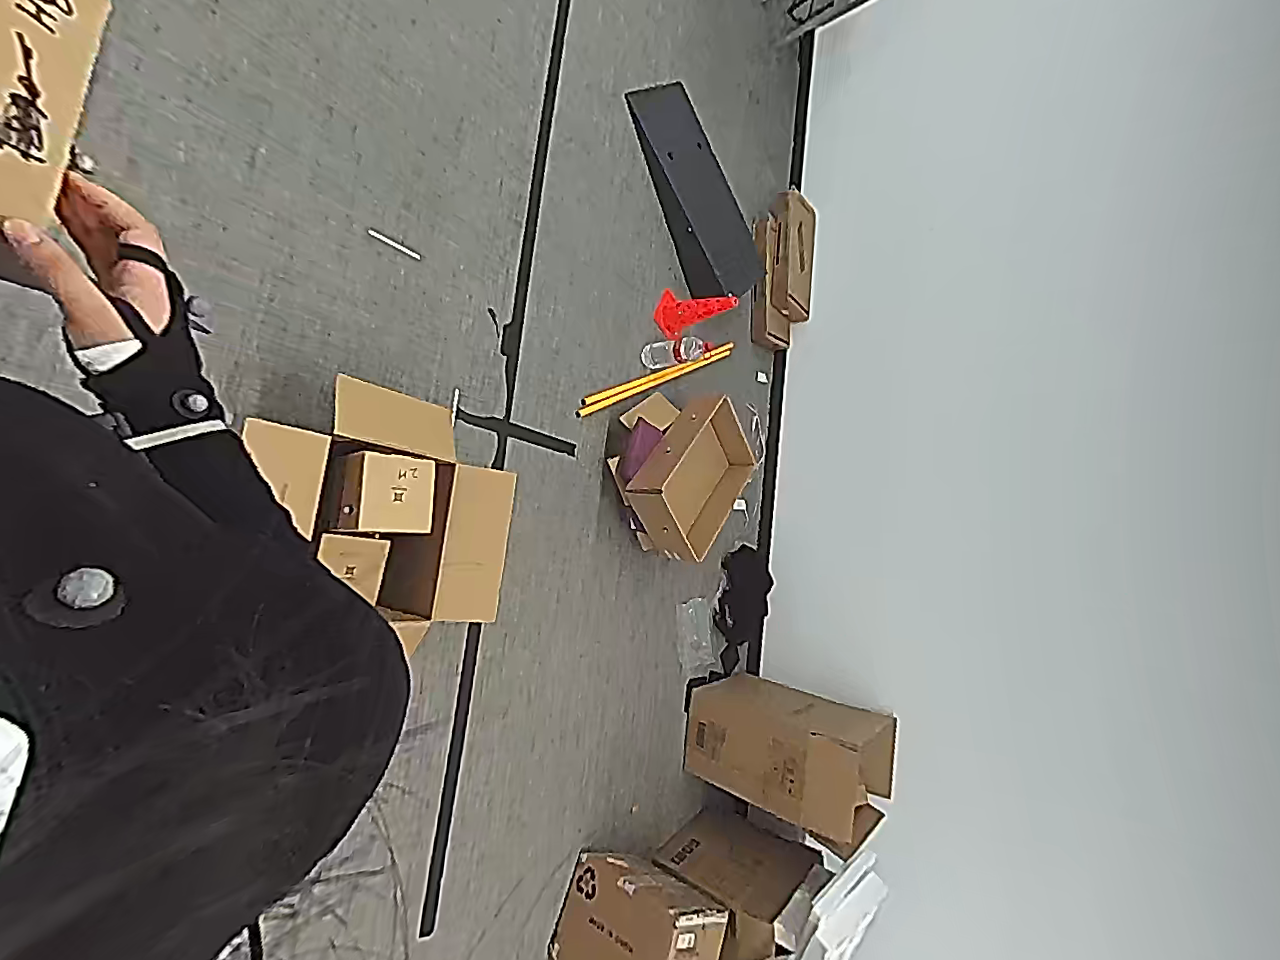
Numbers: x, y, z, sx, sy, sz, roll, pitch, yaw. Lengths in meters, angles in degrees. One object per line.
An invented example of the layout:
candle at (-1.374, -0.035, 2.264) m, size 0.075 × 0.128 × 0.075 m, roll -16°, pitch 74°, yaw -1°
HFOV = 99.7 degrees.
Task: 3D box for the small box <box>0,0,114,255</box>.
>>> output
small box at (-0.465, -0.252, 0.322) m, size 0.179 × 0.176 × 0.168 m, roll 16°, pitch 87°, yaw -52°
